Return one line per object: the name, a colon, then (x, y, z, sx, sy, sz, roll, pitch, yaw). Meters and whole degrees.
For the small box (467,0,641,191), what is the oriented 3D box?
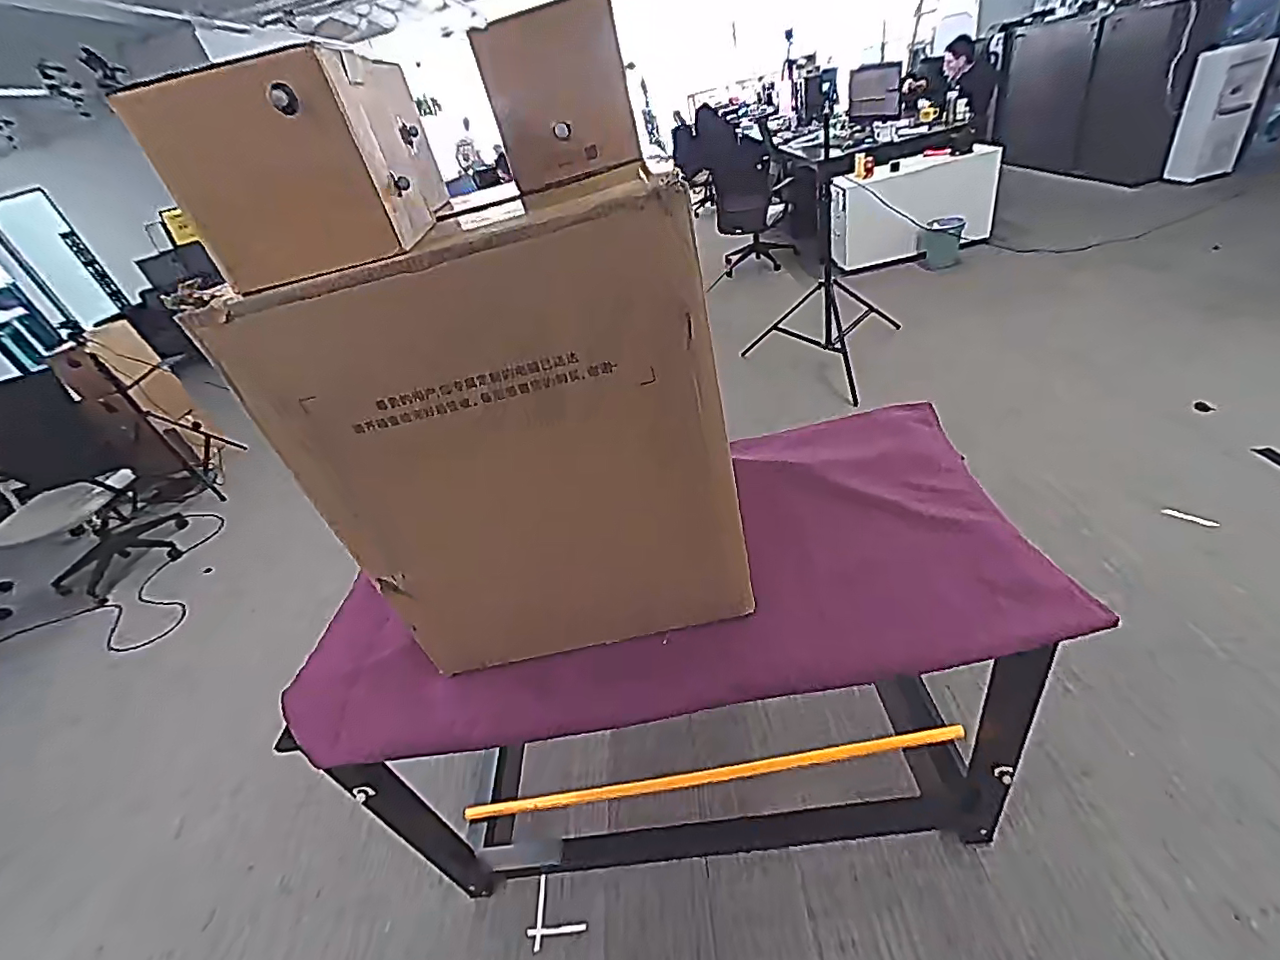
small box: (-0.097, -0.491, 0.701, 0.168, 0.176, 0.179, -12, 35, 7)
